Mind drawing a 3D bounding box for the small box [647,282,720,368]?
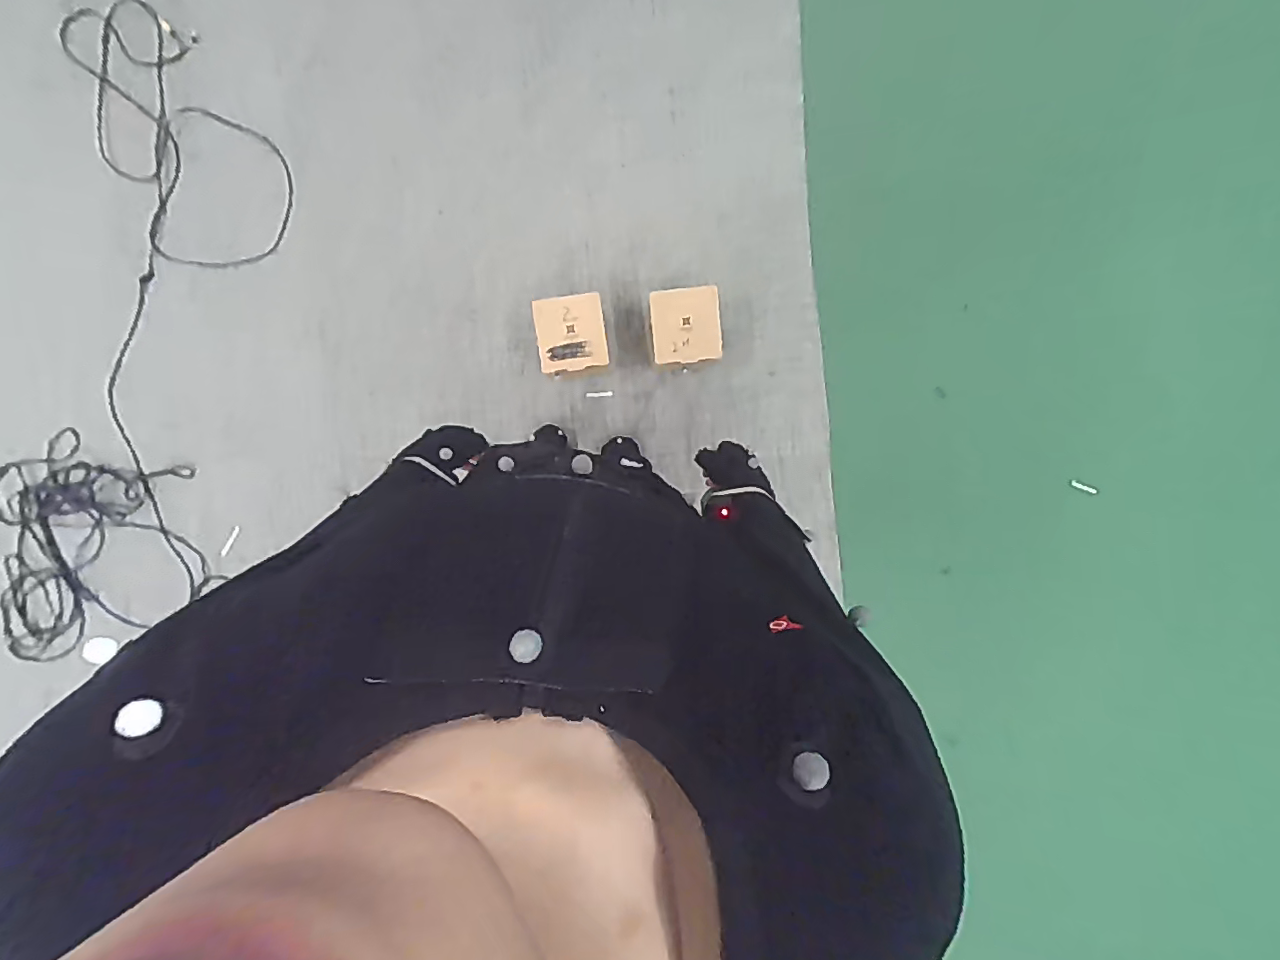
[{"bbox_3d":[0.106,-0.389,1.380,0.168,0.176,0.179,-5,95,0],"label":"small box"}]
